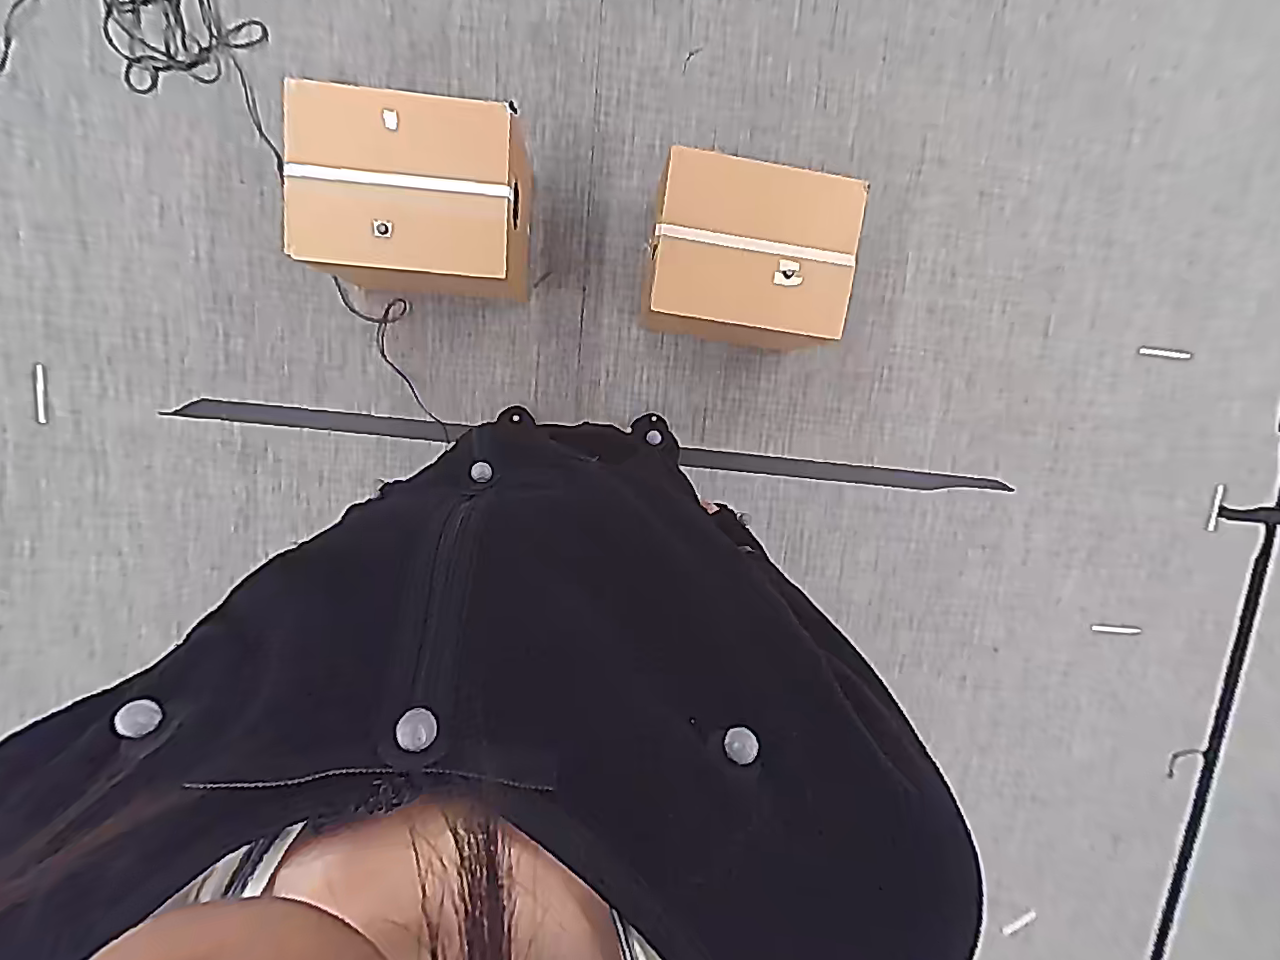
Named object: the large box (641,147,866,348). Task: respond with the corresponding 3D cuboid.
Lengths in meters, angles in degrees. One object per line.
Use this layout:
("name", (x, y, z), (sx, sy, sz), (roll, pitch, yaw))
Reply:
("large box", (0.226, -0.496, 1.231), (0.408, 0.320, 0.320), (7, 98, -6))
